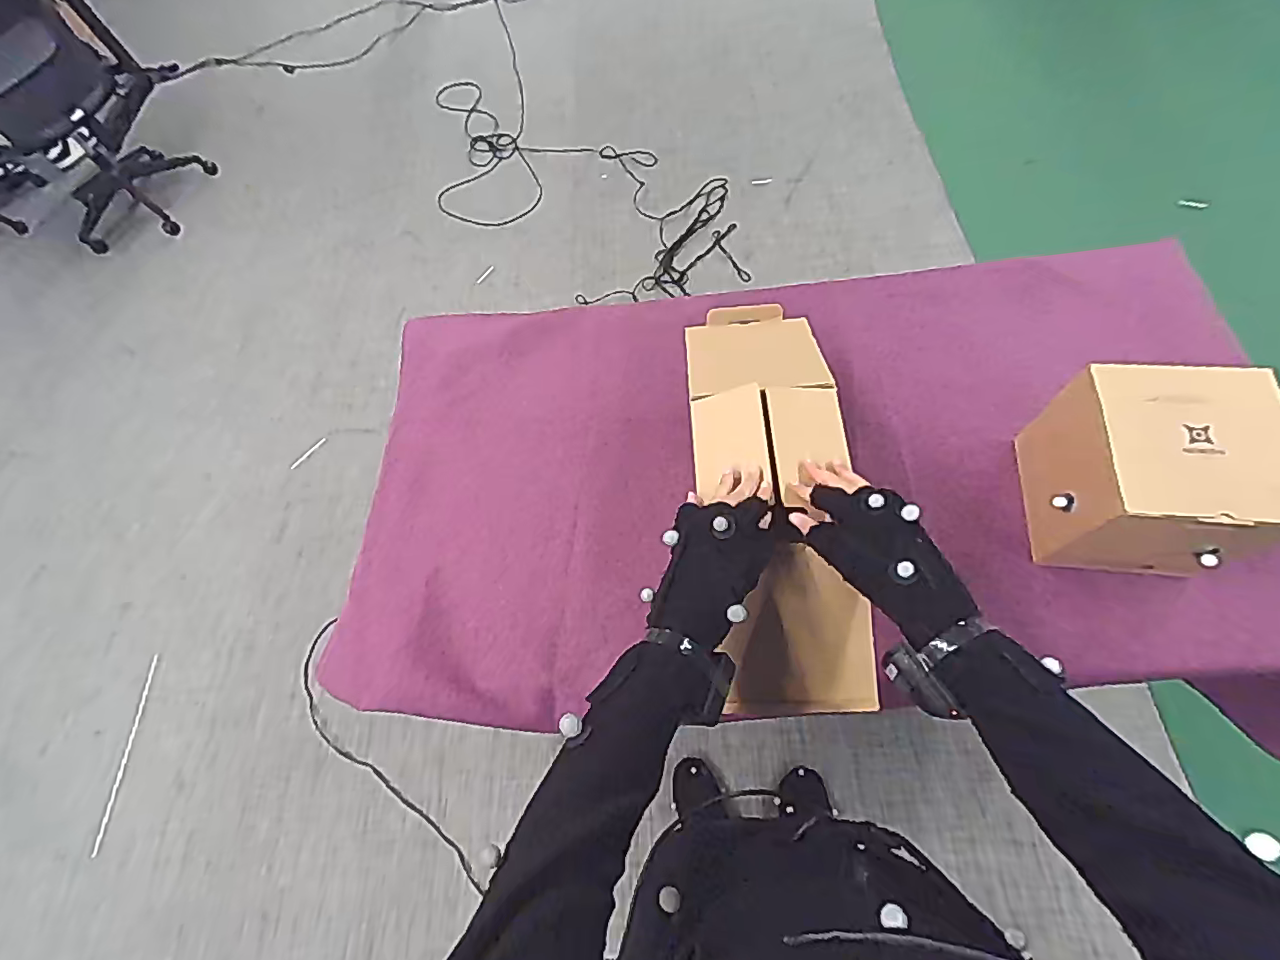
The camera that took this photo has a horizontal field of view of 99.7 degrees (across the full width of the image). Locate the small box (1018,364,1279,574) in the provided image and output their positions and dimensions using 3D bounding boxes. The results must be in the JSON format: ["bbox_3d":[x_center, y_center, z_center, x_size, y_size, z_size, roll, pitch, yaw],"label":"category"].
[{"bbox_3d":[0.553,-0.005,0.596,0.168,0.176,0.179,5,65,11],"label":"small box"}]
